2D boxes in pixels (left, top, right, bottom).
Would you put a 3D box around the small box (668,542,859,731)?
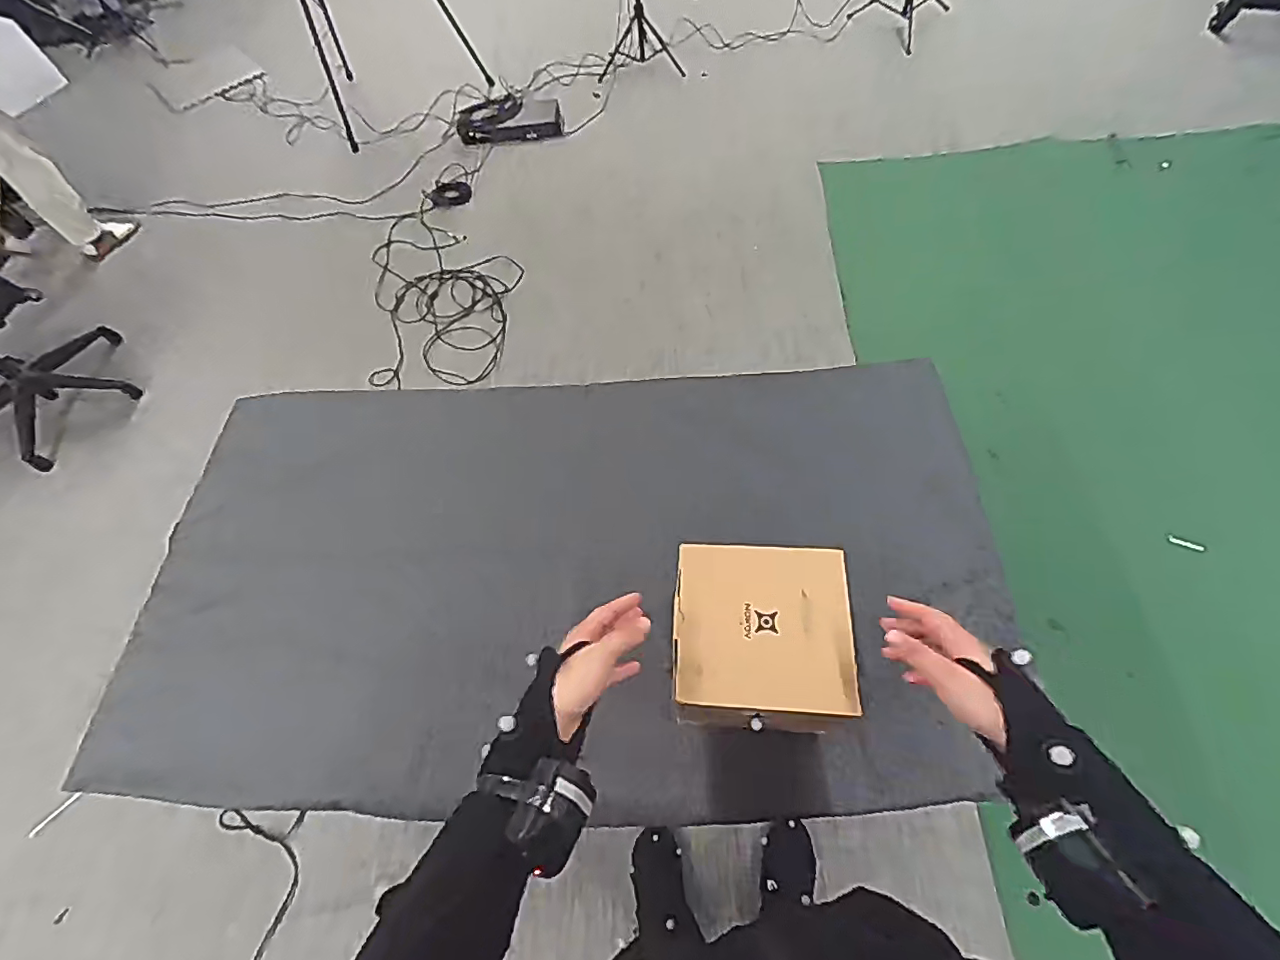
[{"bbox_3d":[0.126,0.179,0.602,0.179,0.176,0.168,1,61,6],"label":"small box"}]
